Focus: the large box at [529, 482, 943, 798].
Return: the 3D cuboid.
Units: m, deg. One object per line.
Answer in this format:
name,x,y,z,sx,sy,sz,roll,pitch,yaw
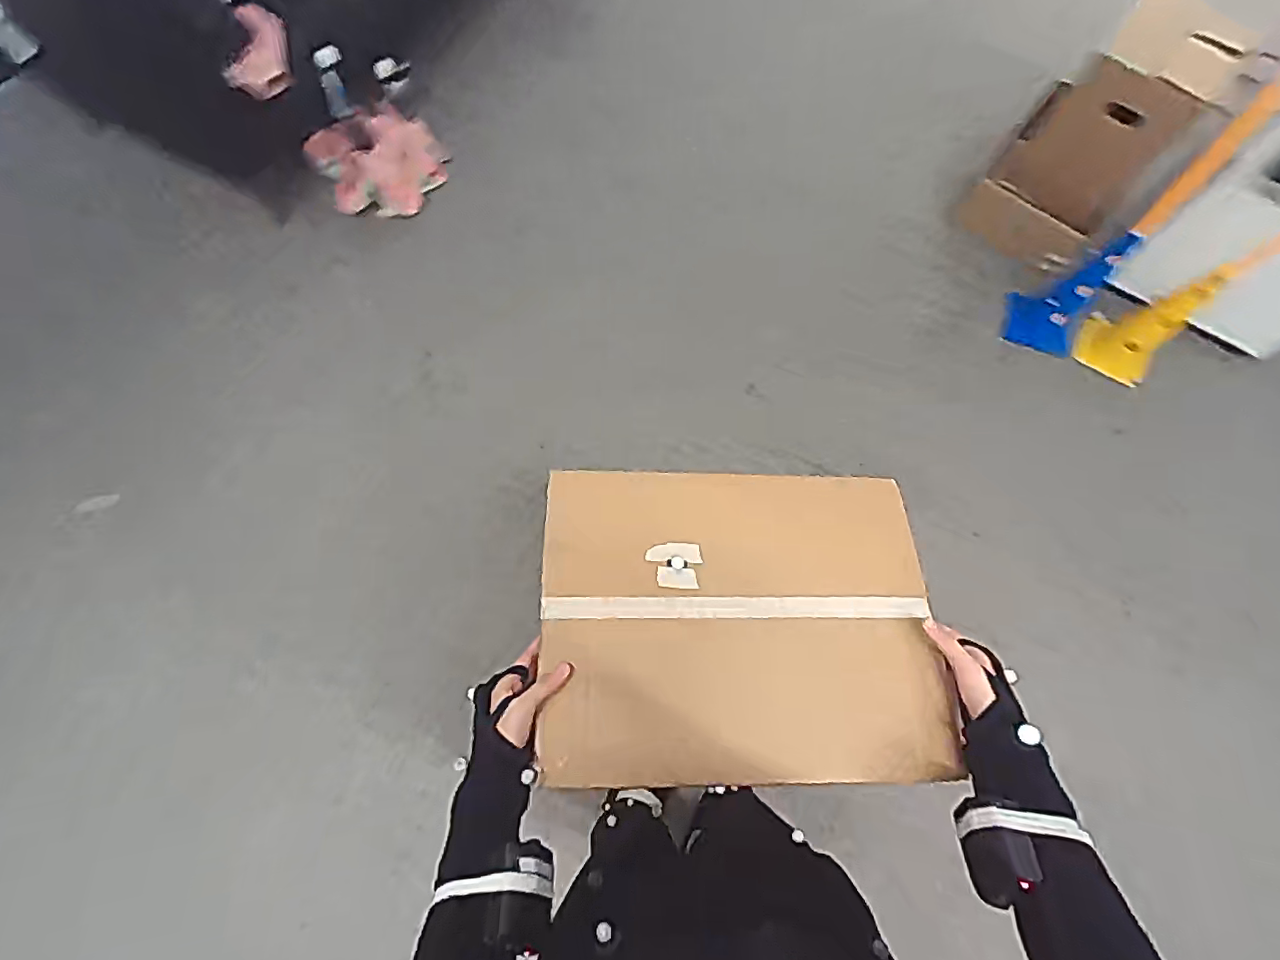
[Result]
large box,0.080,0.209,0.701,0.408,0.320,0.320,0,63,-5
